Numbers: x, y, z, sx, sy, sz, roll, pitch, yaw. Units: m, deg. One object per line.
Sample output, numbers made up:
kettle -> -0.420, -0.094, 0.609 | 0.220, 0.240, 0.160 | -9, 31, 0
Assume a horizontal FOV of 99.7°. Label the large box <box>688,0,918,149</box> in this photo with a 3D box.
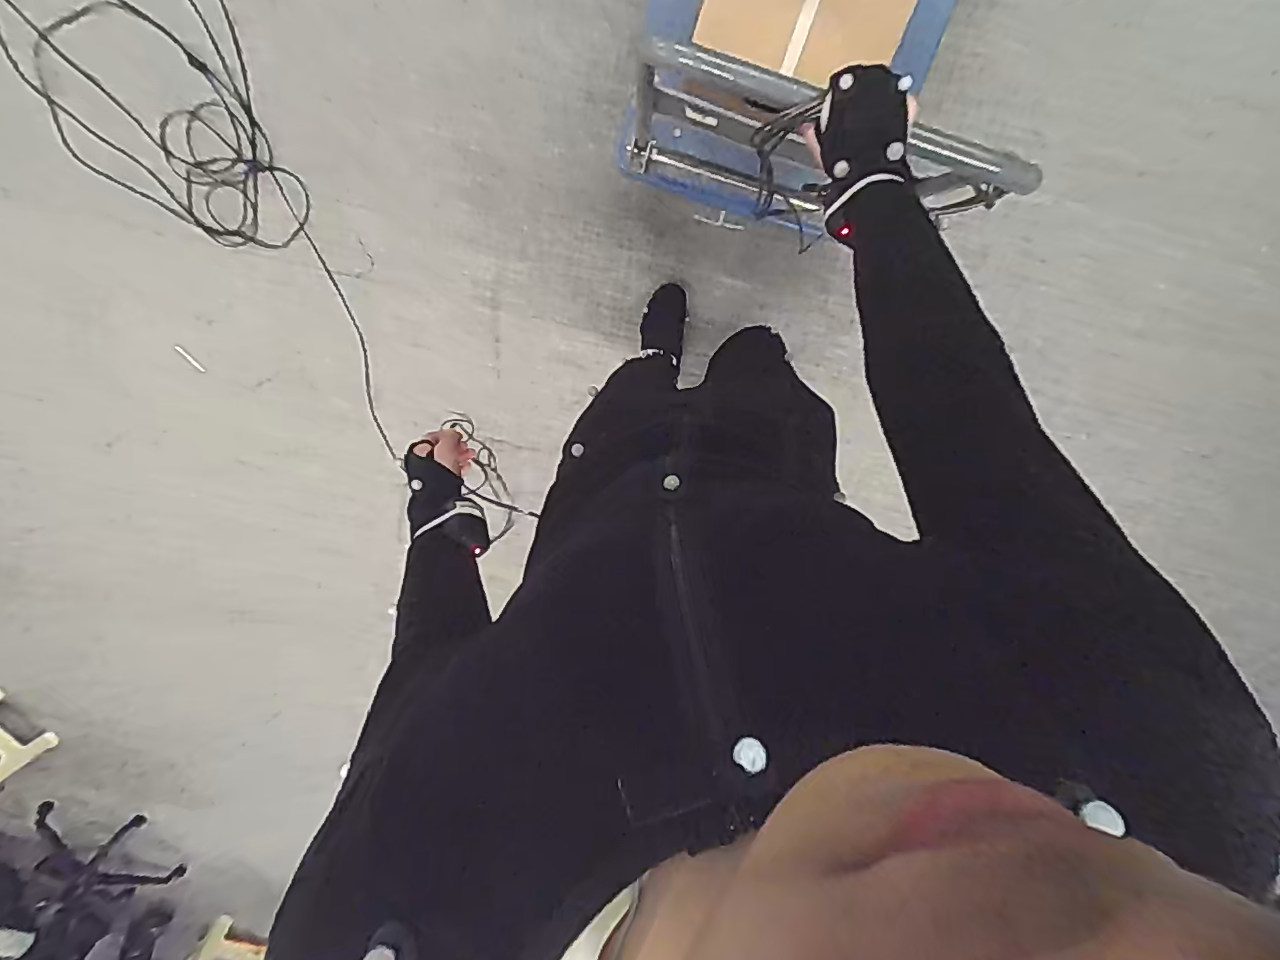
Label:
large box -> 0.291, -0.859, 0.927 | 0.320, 0.320, 0.408 | 17, 112, -6
